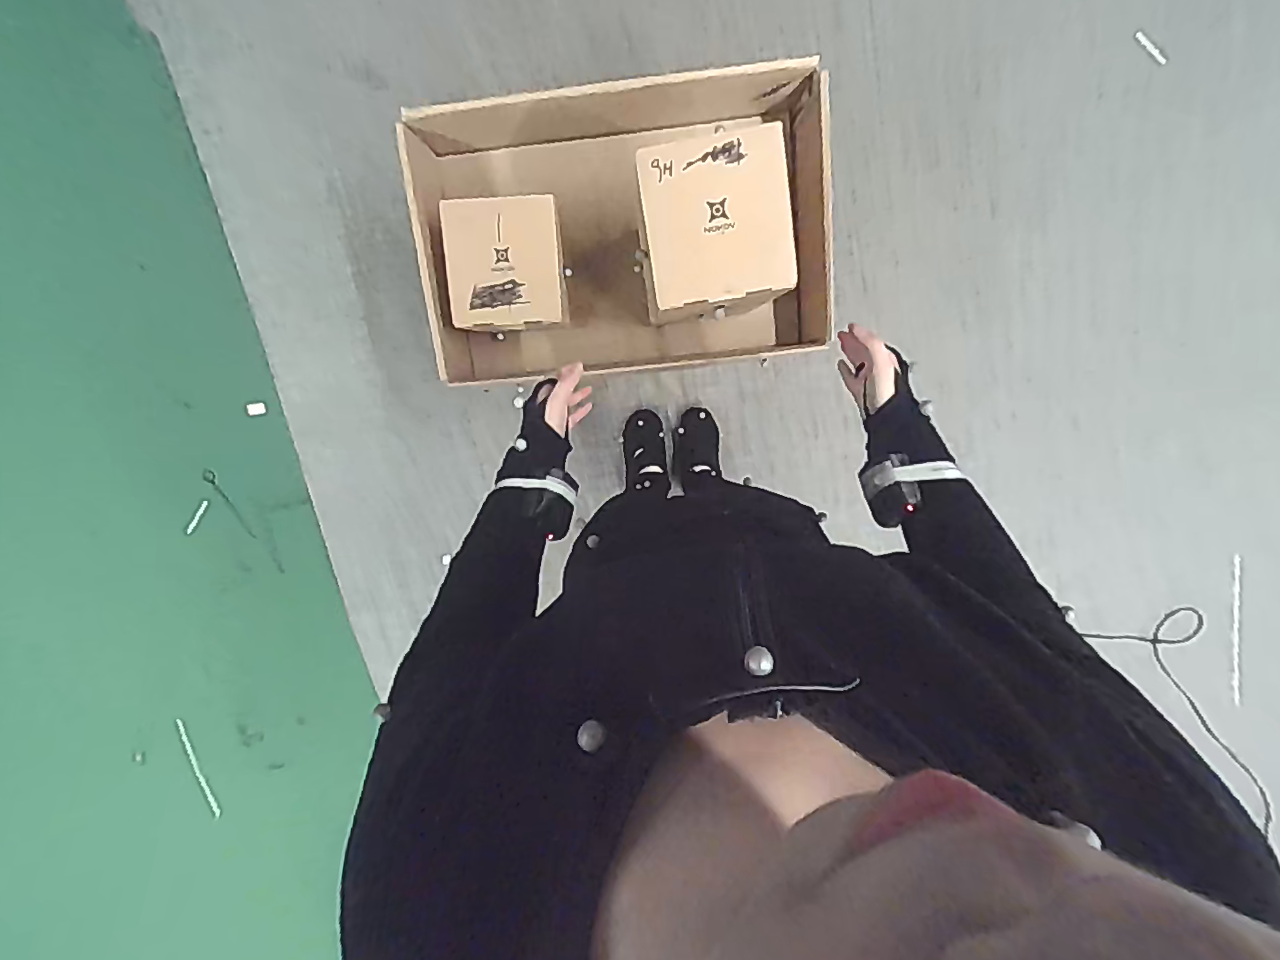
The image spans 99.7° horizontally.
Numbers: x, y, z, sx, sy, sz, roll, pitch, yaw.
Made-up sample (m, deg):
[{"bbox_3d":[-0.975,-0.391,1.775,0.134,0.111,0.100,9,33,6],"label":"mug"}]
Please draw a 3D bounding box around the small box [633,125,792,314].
[{"bbox_3d":[0.087,-0.313,0.691,0.168,0.176,0.179,-8,103,3],"label":"small box"}]
